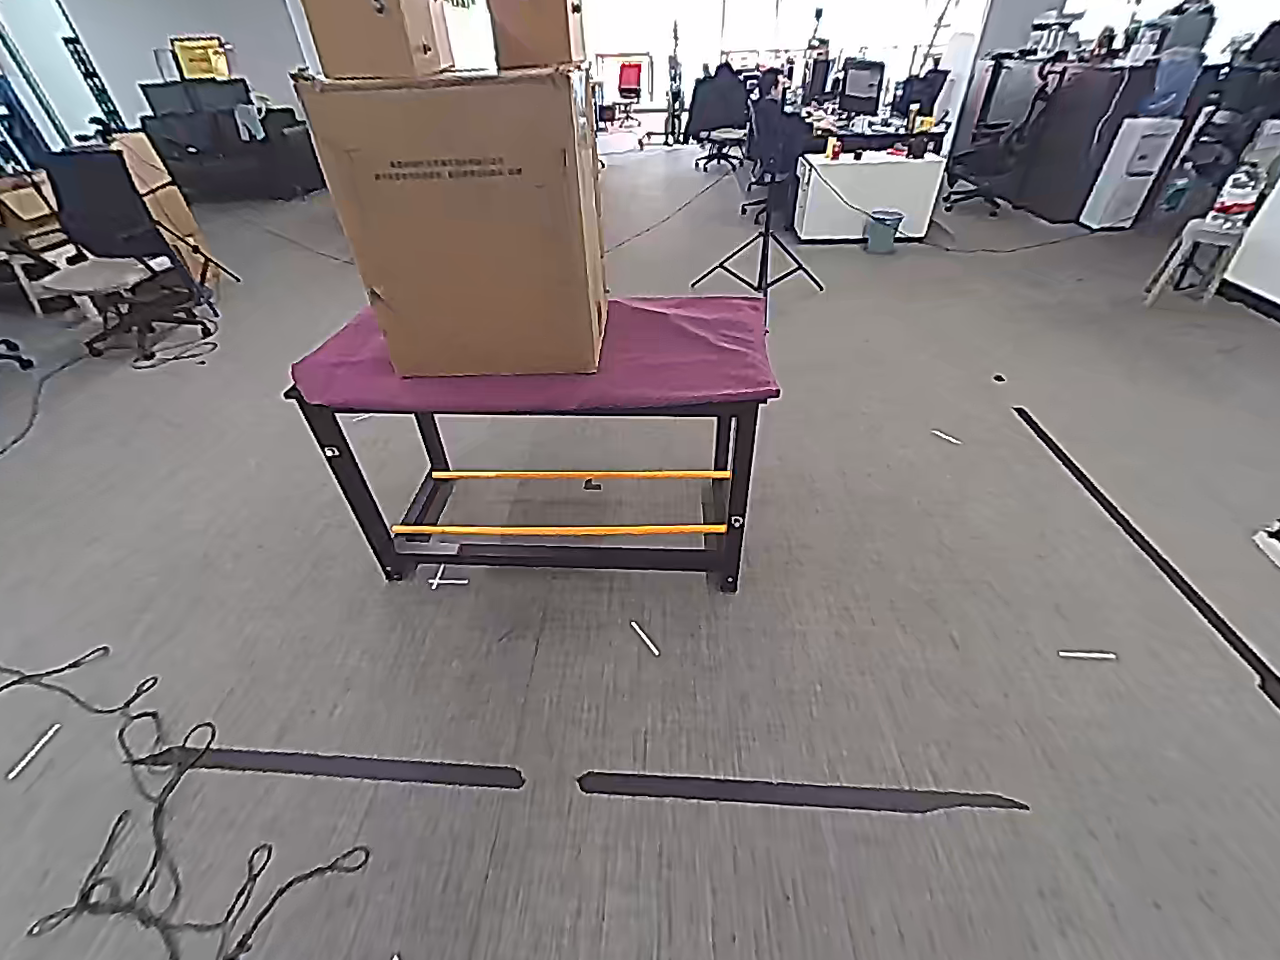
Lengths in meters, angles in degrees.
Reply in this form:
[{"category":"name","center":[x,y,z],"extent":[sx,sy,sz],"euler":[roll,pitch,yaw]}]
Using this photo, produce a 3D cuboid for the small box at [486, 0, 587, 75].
[{"category":"small box","center":[-0.220,-1.002,1.182],"extent":[0.179,0.176,0.168],"euler":[2,39,7]}]
